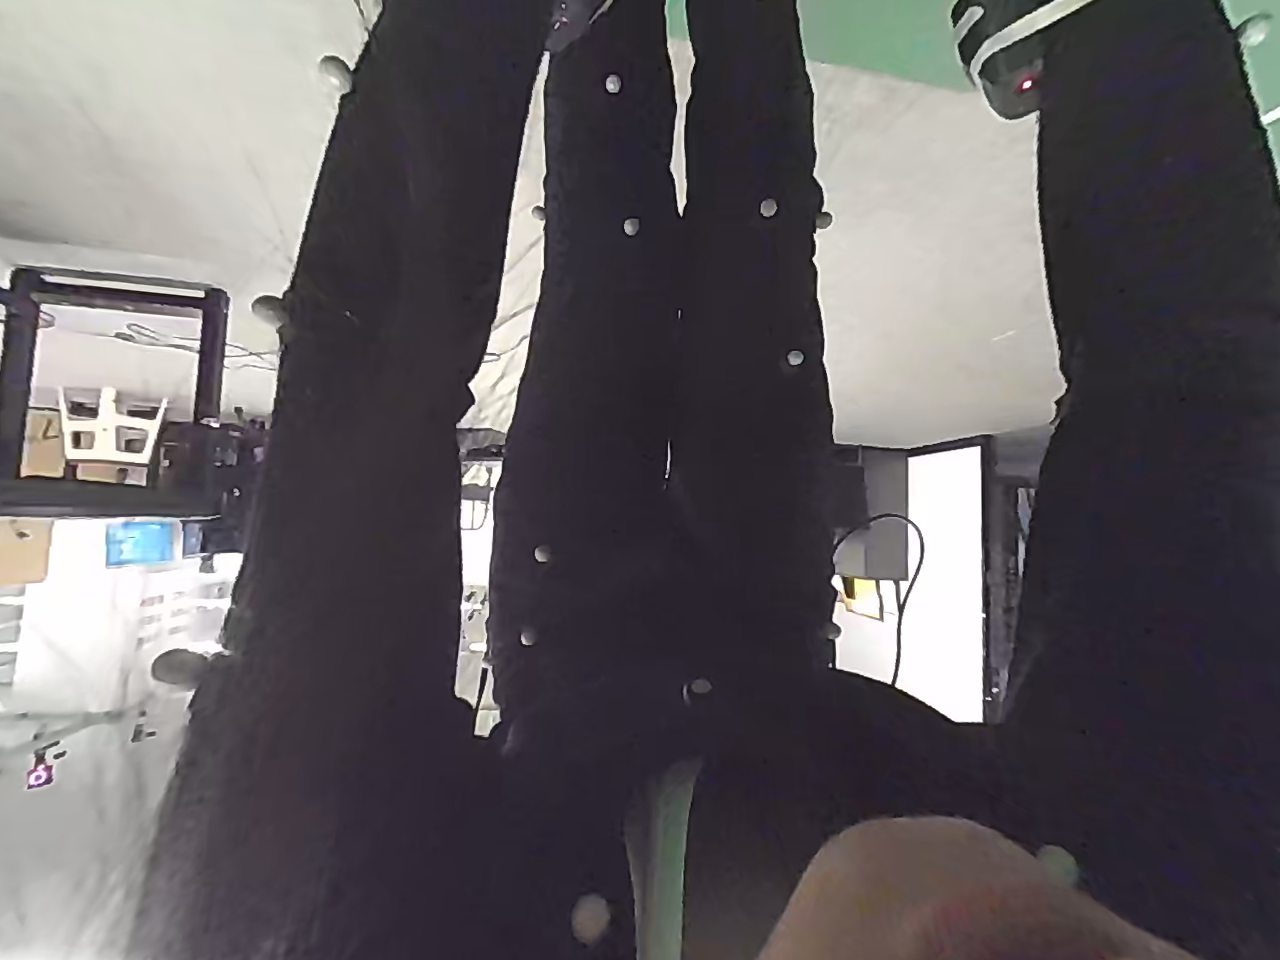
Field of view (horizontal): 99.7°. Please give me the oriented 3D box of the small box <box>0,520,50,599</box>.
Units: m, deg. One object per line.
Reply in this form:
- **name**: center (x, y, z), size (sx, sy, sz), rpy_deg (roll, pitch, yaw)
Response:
- **small box**: center (-1.462, 0.170, 1.181), size (0.179, 0.176, 0.168), rpy_deg (4, 175, -10)
